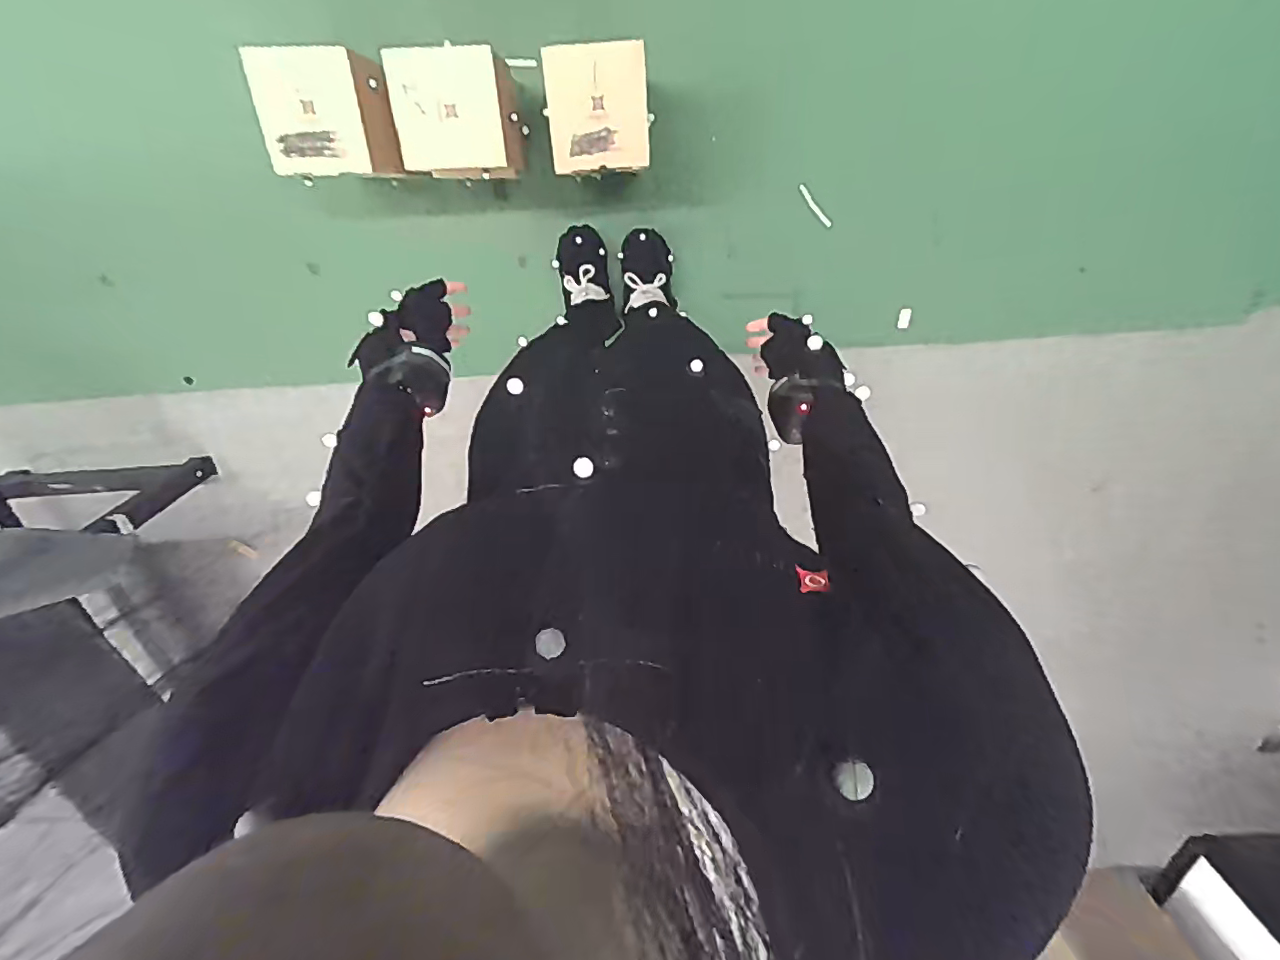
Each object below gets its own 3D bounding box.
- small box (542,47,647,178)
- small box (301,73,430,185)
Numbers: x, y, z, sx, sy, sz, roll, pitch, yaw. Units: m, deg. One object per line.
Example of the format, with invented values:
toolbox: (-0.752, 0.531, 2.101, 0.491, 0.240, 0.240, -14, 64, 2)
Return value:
small box: (-0.073, -0.645, 0.966, 0.168, 0.176, 0.179, -4, 119, 0)
small box: (-0.545, -0.707, 1.103, 0.168, 0.176, 0.179, 0, 118, -2)
